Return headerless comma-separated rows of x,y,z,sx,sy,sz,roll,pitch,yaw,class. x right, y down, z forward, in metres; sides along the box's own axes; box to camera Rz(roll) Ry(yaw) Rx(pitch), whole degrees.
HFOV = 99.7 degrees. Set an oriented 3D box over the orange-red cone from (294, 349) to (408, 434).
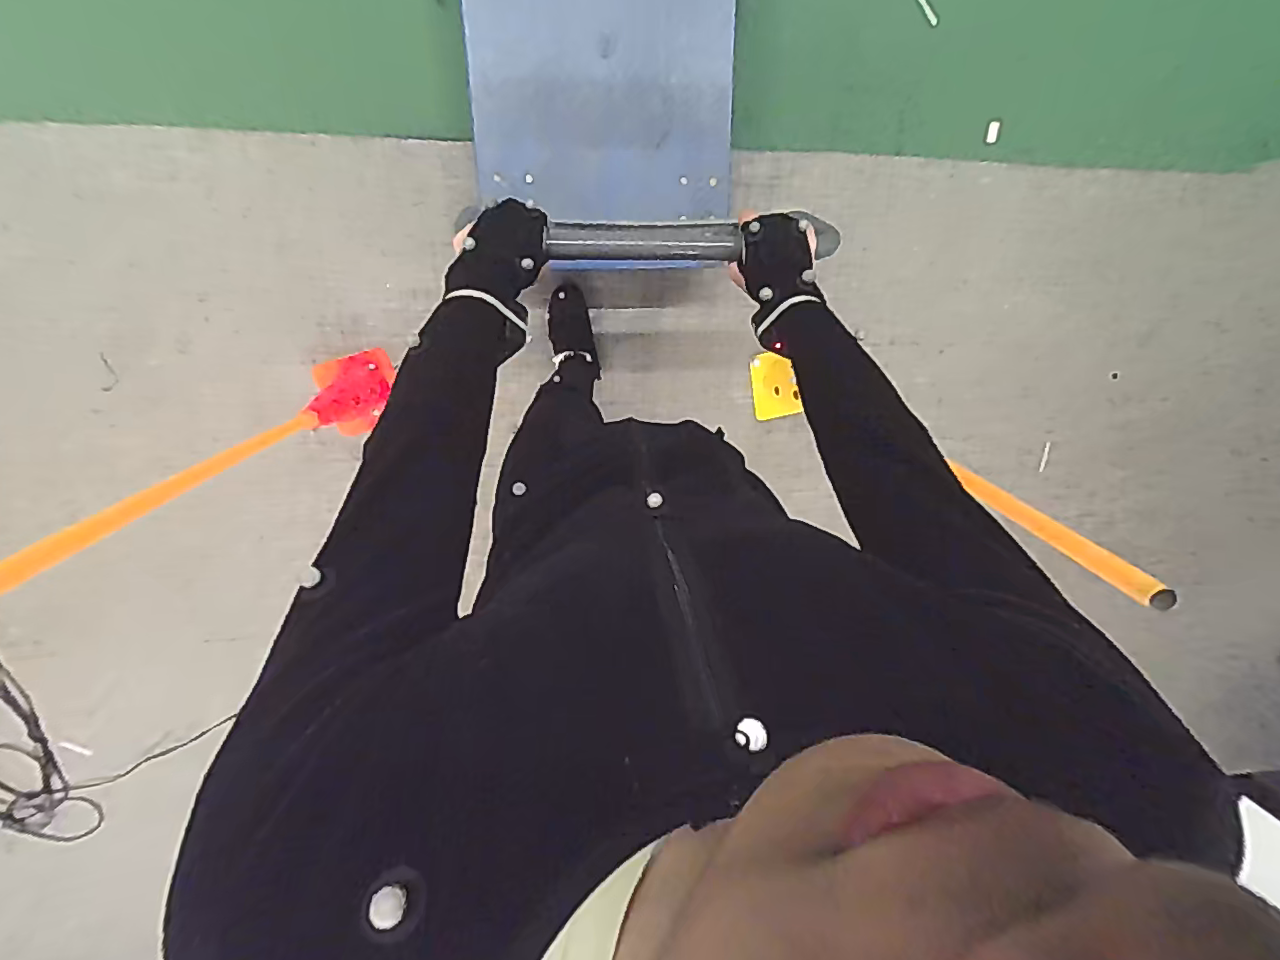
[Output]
-0.714,-0.179,1.271,0.199,0.360,0.198,-16,109,-2,orange-red cone
